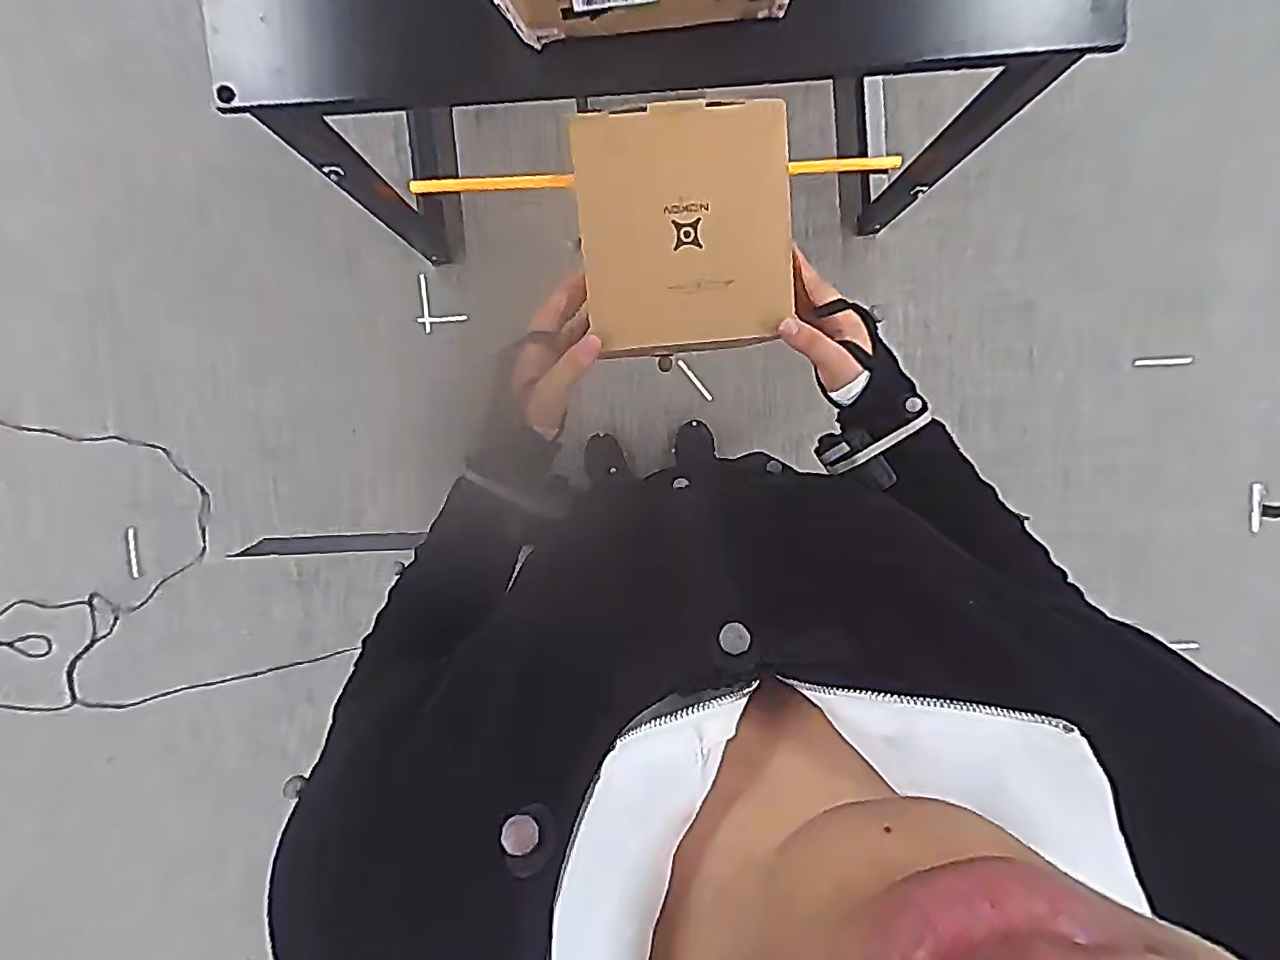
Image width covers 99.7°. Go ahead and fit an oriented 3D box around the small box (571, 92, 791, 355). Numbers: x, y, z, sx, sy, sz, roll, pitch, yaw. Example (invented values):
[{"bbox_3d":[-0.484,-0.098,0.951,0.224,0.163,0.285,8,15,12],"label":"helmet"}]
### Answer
[{"bbox_3d":[0.029,-0.214,0.496,0.168,0.176,0.179,-6,101,-2],"label":"small box"}]
